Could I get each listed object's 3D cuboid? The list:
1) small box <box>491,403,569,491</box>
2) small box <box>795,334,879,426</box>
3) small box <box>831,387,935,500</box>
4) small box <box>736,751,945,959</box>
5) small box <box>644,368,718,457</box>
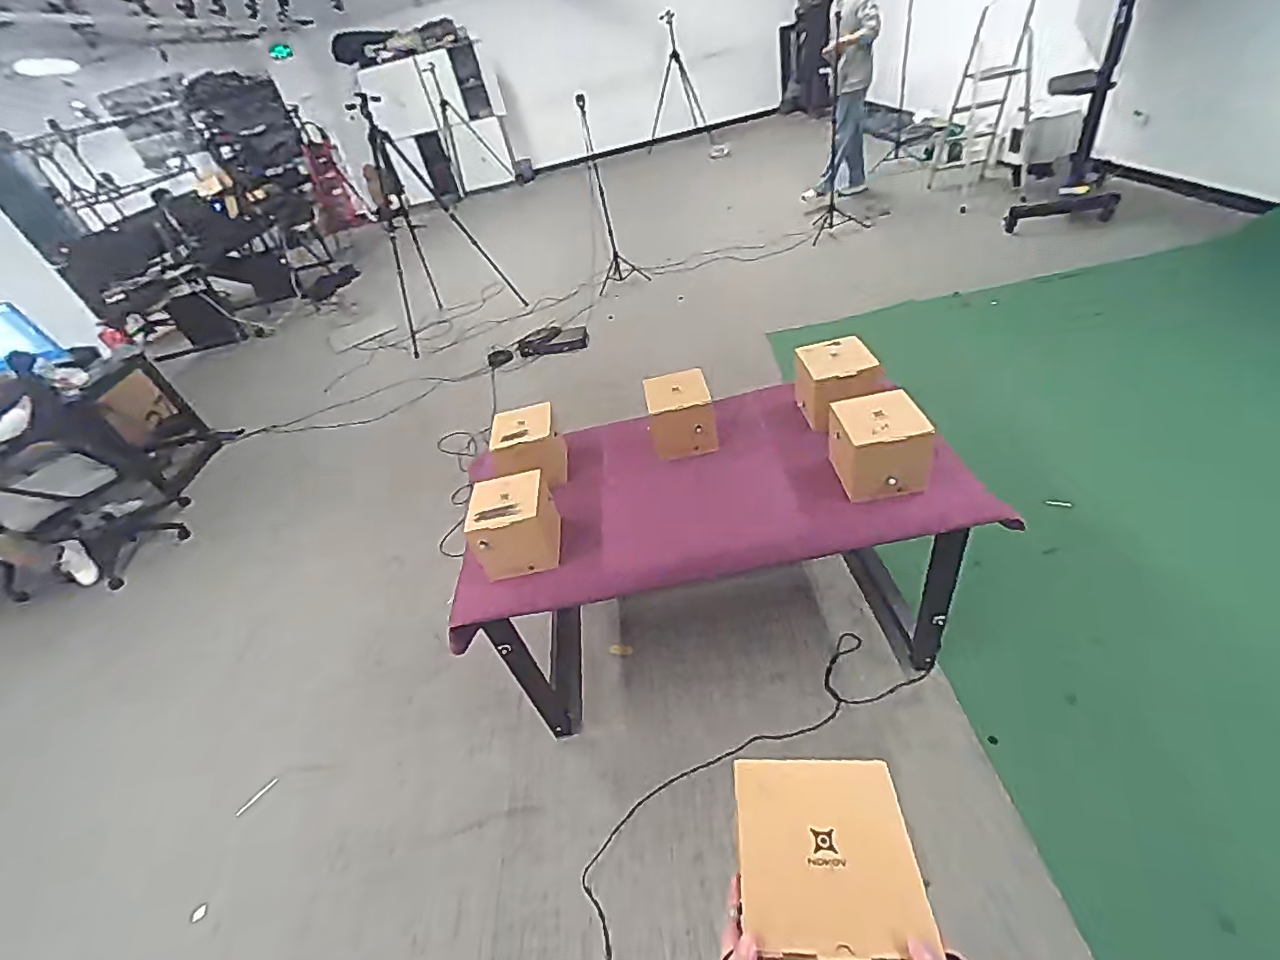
[{"bbox_3d":[-0.299,-0.085,1.505,0.168,0.176,0.179,-13,39,3],"label":"small box"},{"bbox_3d":[0.520,-0.259,1.438,0.168,0.176,0.179,-12,41,5],"label":"small box"},{"bbox_3d":[0.537,-0.082,1.221,0.168,0.176,0.179,-11,39,8],"label":"small box"},{"bbox_3d":[0.189,0.416,0.569,0.168,0.176,0.179,-4,33,8],"label":"small box"},{"bbox_3d":[0.113,-0.178,1.481,0.168,0.176,0.179,-12,40,4],"label":"small box"}]
